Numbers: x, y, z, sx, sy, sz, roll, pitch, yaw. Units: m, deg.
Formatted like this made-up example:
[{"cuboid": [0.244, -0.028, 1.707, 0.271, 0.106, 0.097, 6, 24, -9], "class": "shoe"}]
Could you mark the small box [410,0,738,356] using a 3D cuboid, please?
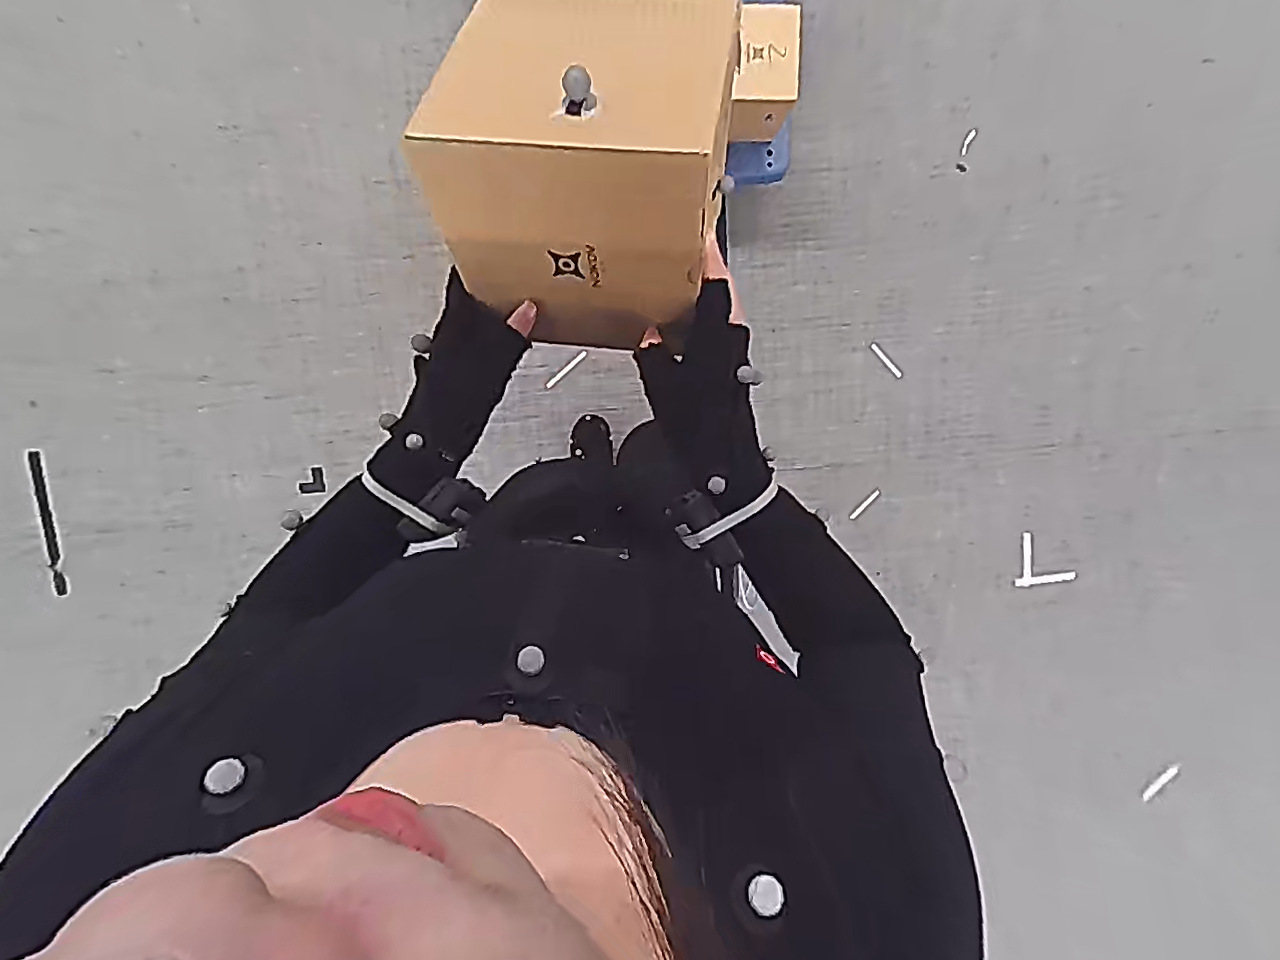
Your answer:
[{"cuboid": [-0.030, -0.217, 0.399, 0.179, 0.168, 0.176, 7, 65, 6], "class": "small box"}]

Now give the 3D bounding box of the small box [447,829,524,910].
[{"cuboid": [-0.446, 1.172, 1.588, 0.168, 0.176, 0.179, -6, 99, 0], "class": "small box"}]

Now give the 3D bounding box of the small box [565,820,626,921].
[{"cuboid": [-0.127, 1.144, 1.591, 0.168, 0.176, 0.179, -3, 99, -1], "class": "small box"}]
